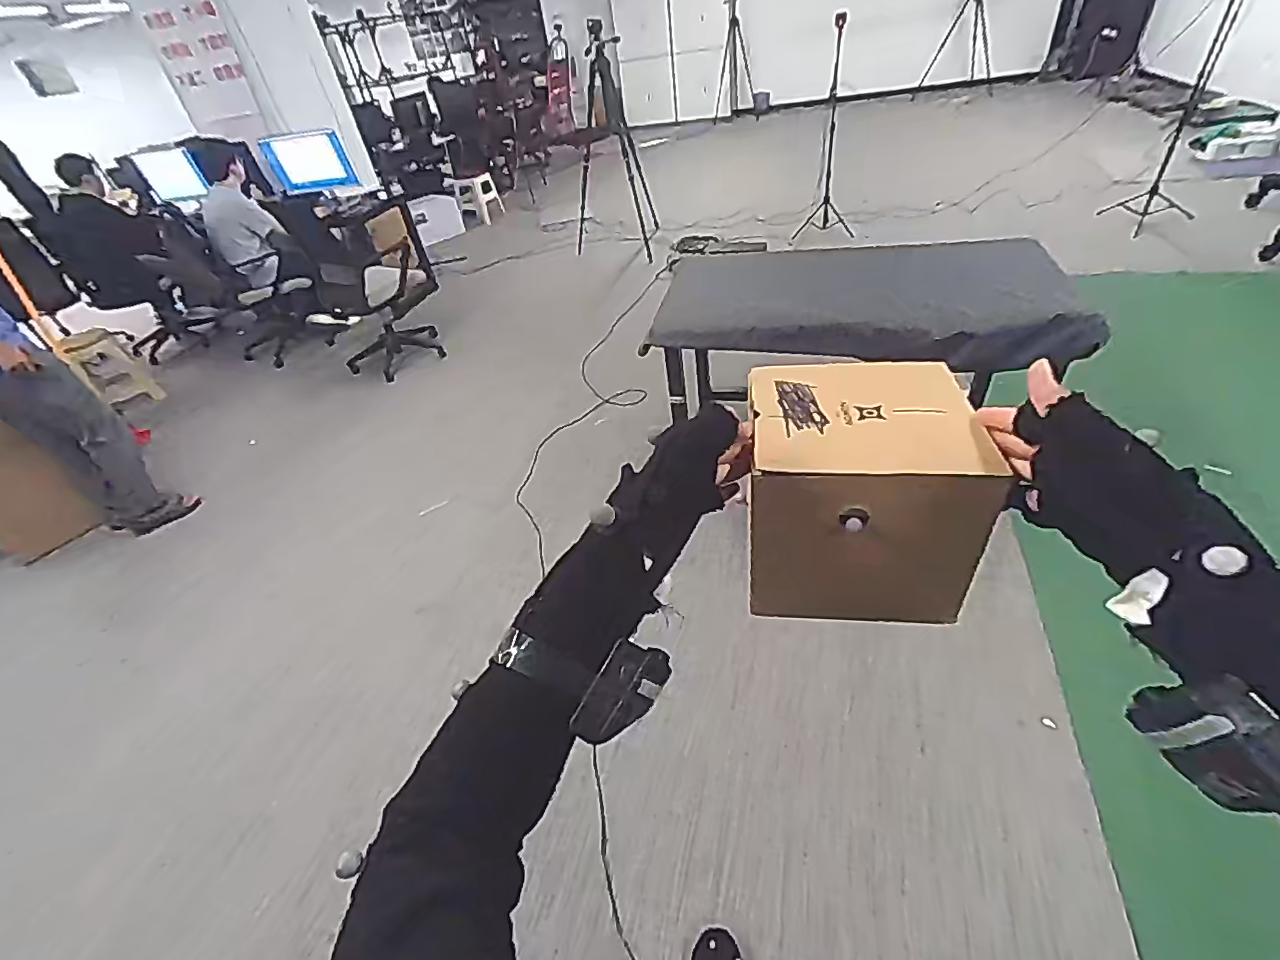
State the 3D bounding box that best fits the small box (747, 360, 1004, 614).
[{"bbox_3d":[0.187,0.005,0.495,0.179,0.176,0.168,1,39,10],"label":"small box"}]
